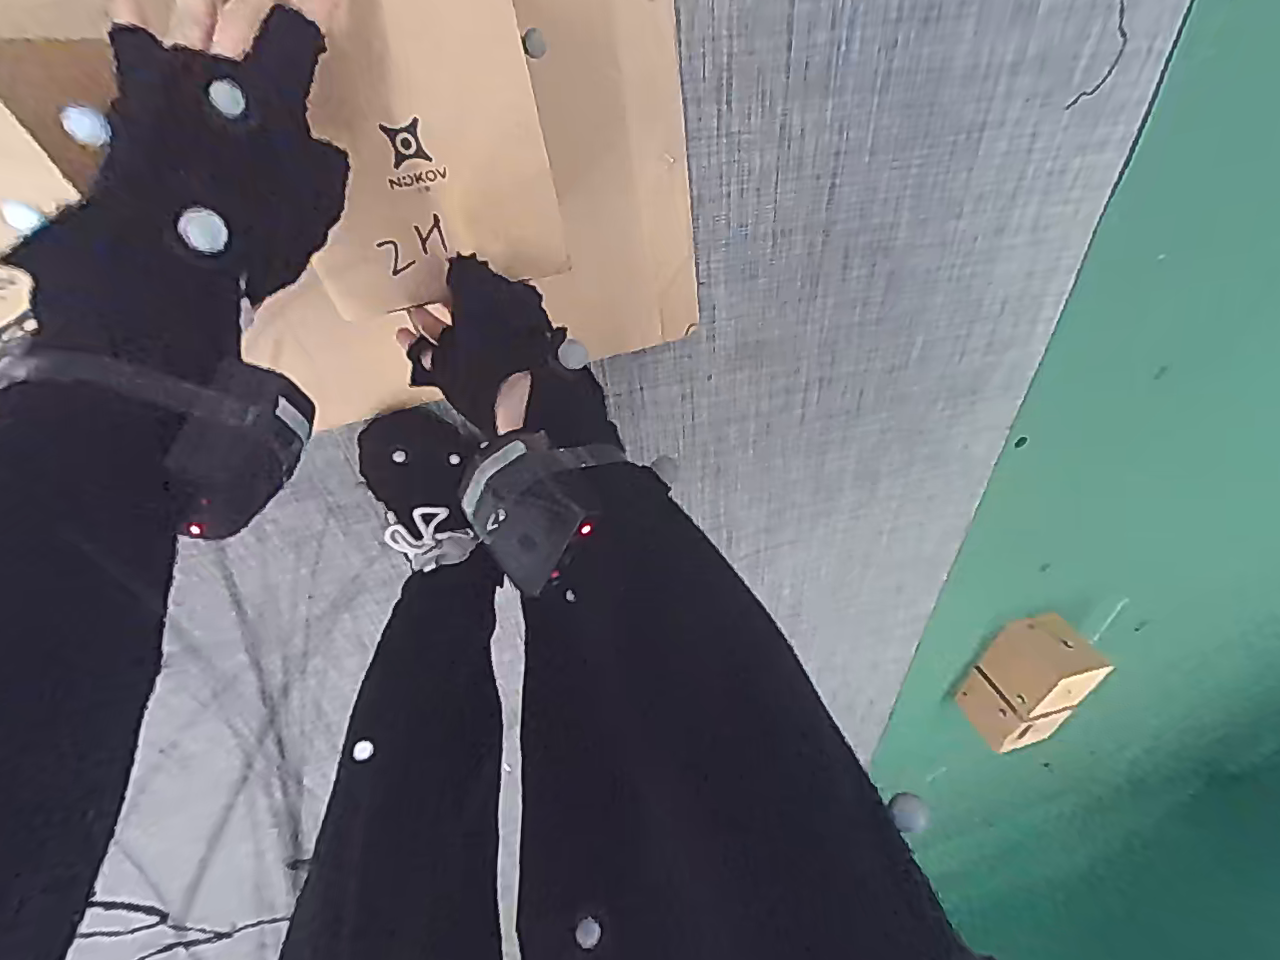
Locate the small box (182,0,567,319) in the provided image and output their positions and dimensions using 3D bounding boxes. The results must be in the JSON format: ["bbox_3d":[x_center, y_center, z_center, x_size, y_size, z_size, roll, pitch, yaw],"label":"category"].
[{"bbox_3d":[-0.161,-0.245,0.391,0.168,0.176,0.179,-15,131,-5],"label":"small box"}]

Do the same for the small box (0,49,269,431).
[{"bbox_3d":[-0.400,-0.167,0.369,0.168,0.176,0.179,-19,130,-3],"label":"small box"}]
